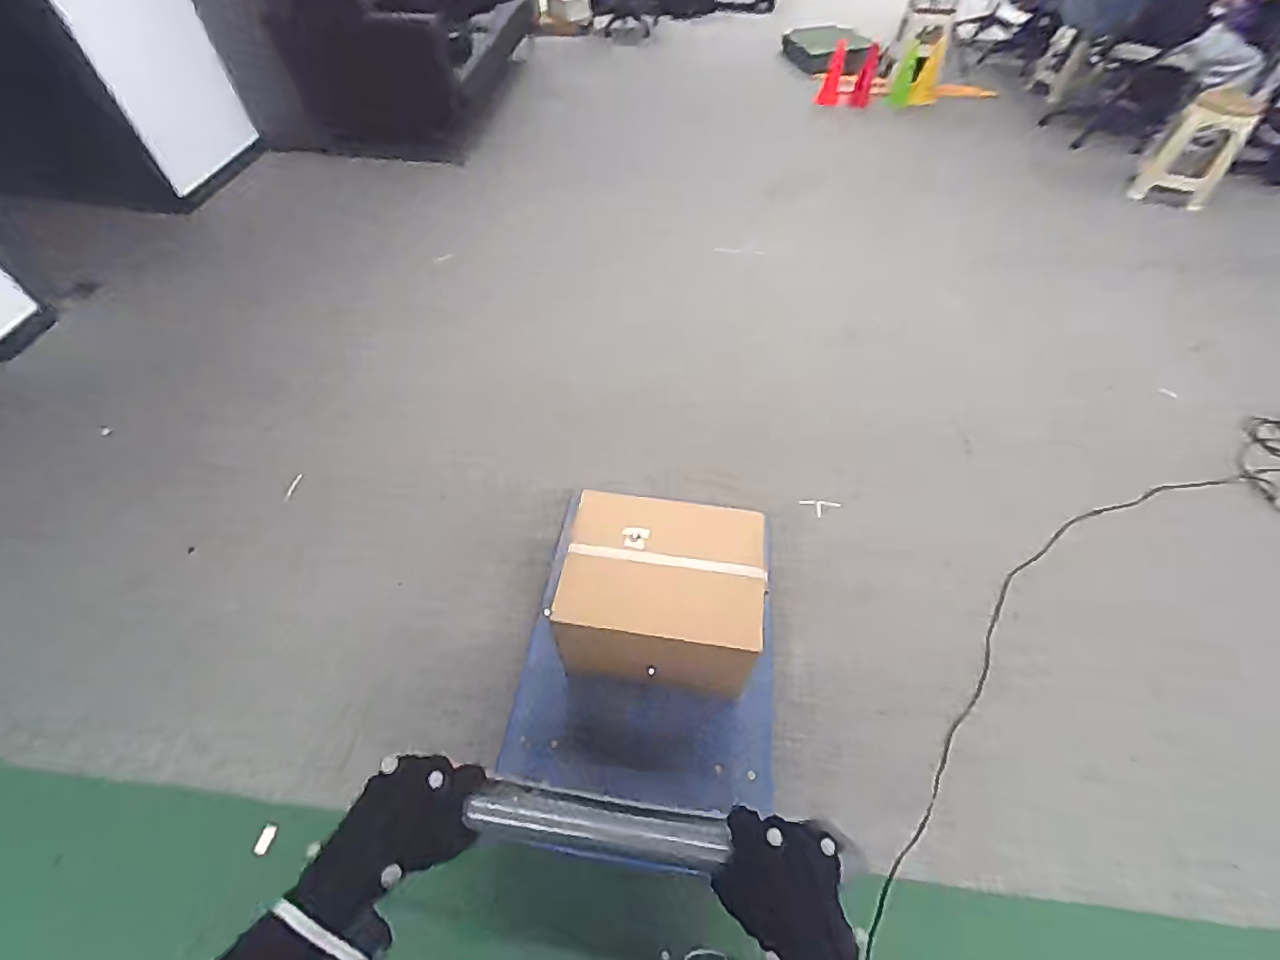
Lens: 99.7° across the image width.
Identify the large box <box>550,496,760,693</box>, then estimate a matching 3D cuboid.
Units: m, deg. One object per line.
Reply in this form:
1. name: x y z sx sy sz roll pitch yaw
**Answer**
1. large box: 0.047 0.264 1.224 0.408 0.320 0.320 6 52 6
